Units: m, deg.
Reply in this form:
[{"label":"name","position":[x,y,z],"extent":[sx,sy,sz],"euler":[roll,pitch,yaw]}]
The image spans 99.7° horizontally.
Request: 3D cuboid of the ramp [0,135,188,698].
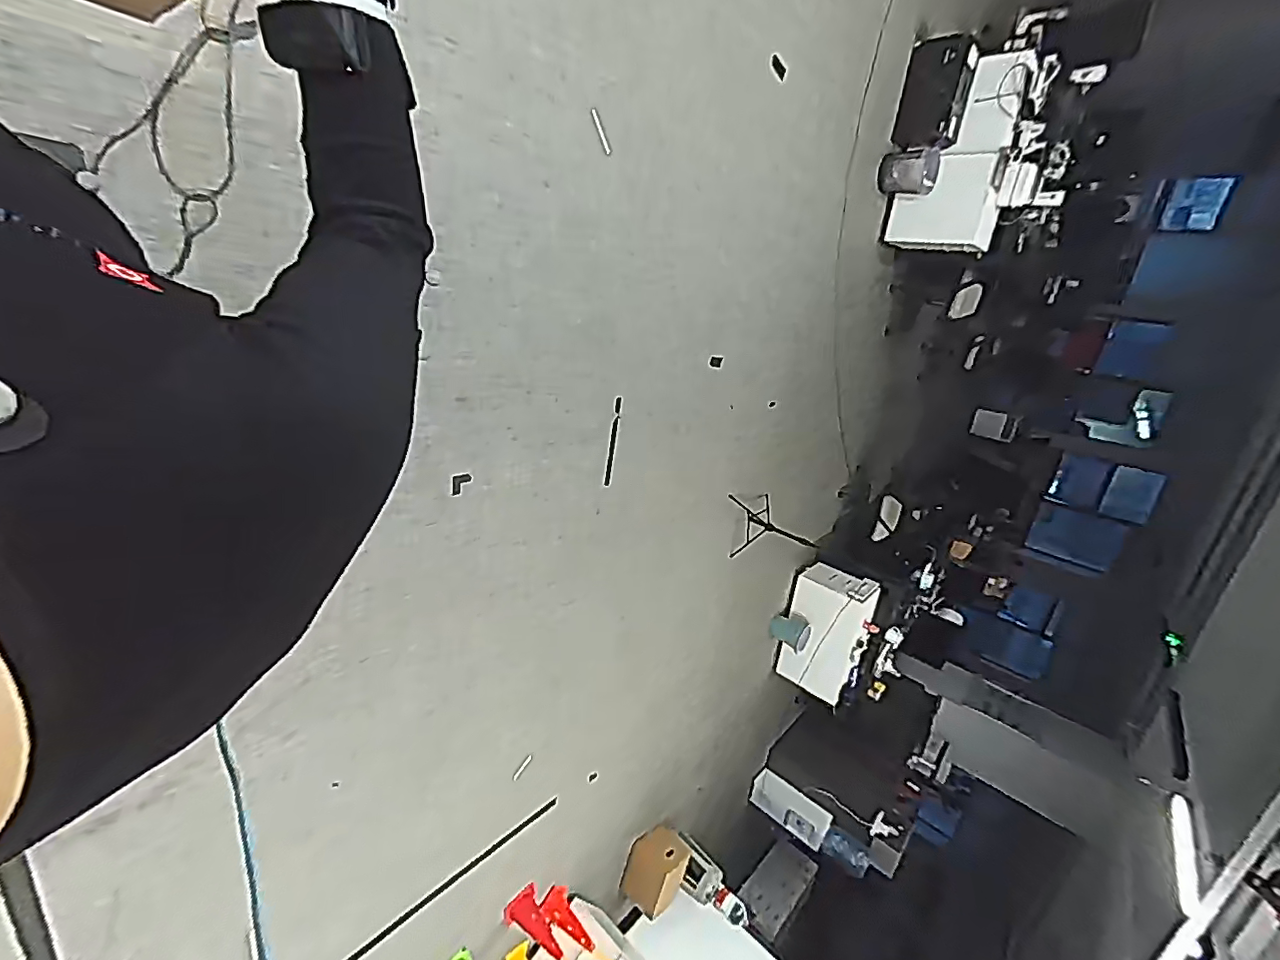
[{"label":"ramp","position":[-1.191,-0.082,0.935],"extent":[0.509,0.206,0.991],"euler":[-16,119,-45]}]
